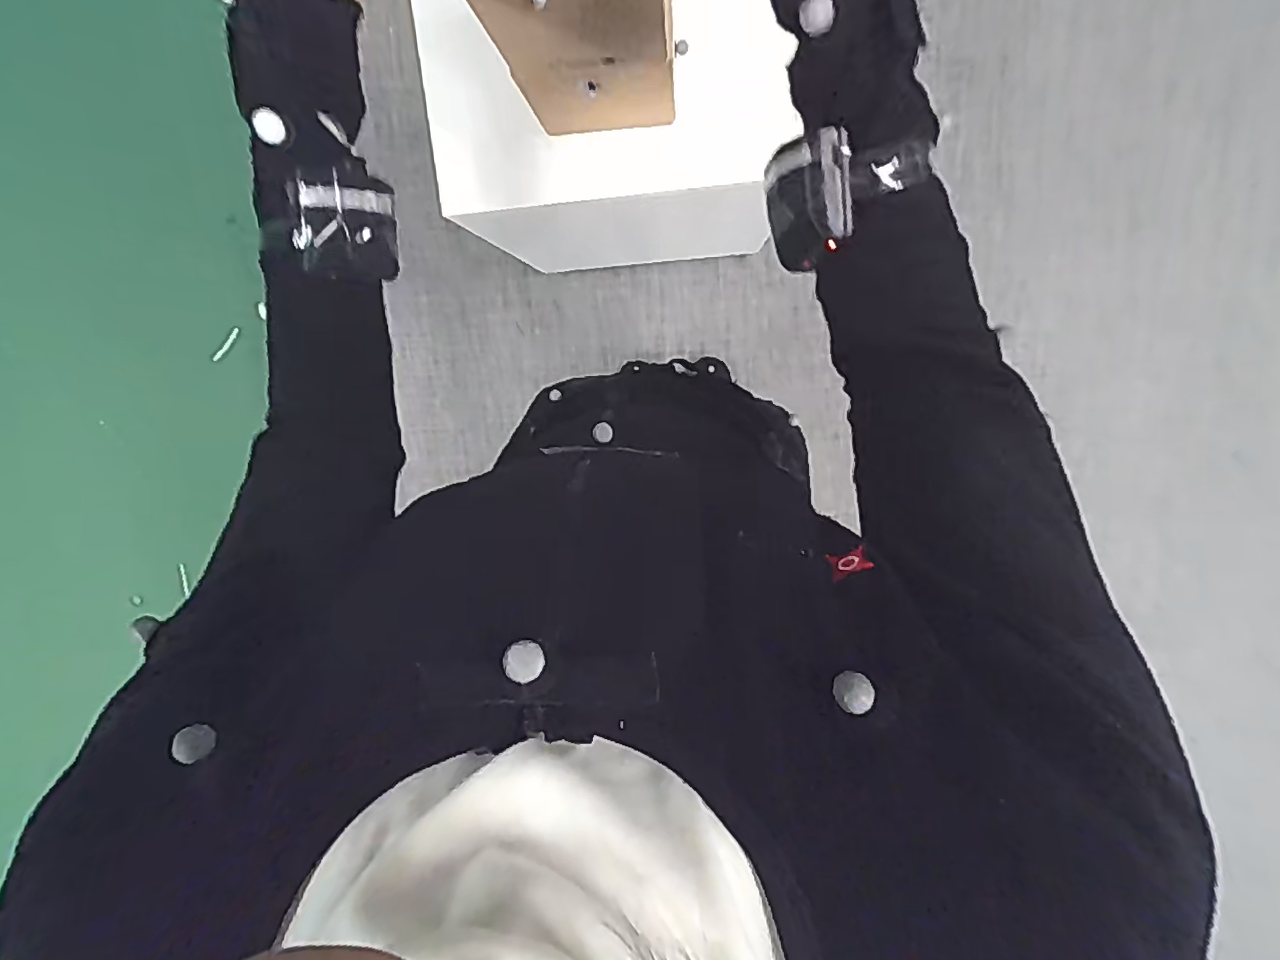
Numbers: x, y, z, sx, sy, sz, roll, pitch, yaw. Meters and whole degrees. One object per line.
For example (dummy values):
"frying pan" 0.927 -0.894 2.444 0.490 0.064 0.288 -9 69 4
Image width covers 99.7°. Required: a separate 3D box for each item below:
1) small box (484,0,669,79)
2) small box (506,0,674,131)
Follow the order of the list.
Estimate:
"small box" -0.061 -0.497 0.474 0.168 0.176 0.179 -3 104 5
"small box" -0.051 -0.533 0.630 0.179 0.176 0.168 -2 103 5
